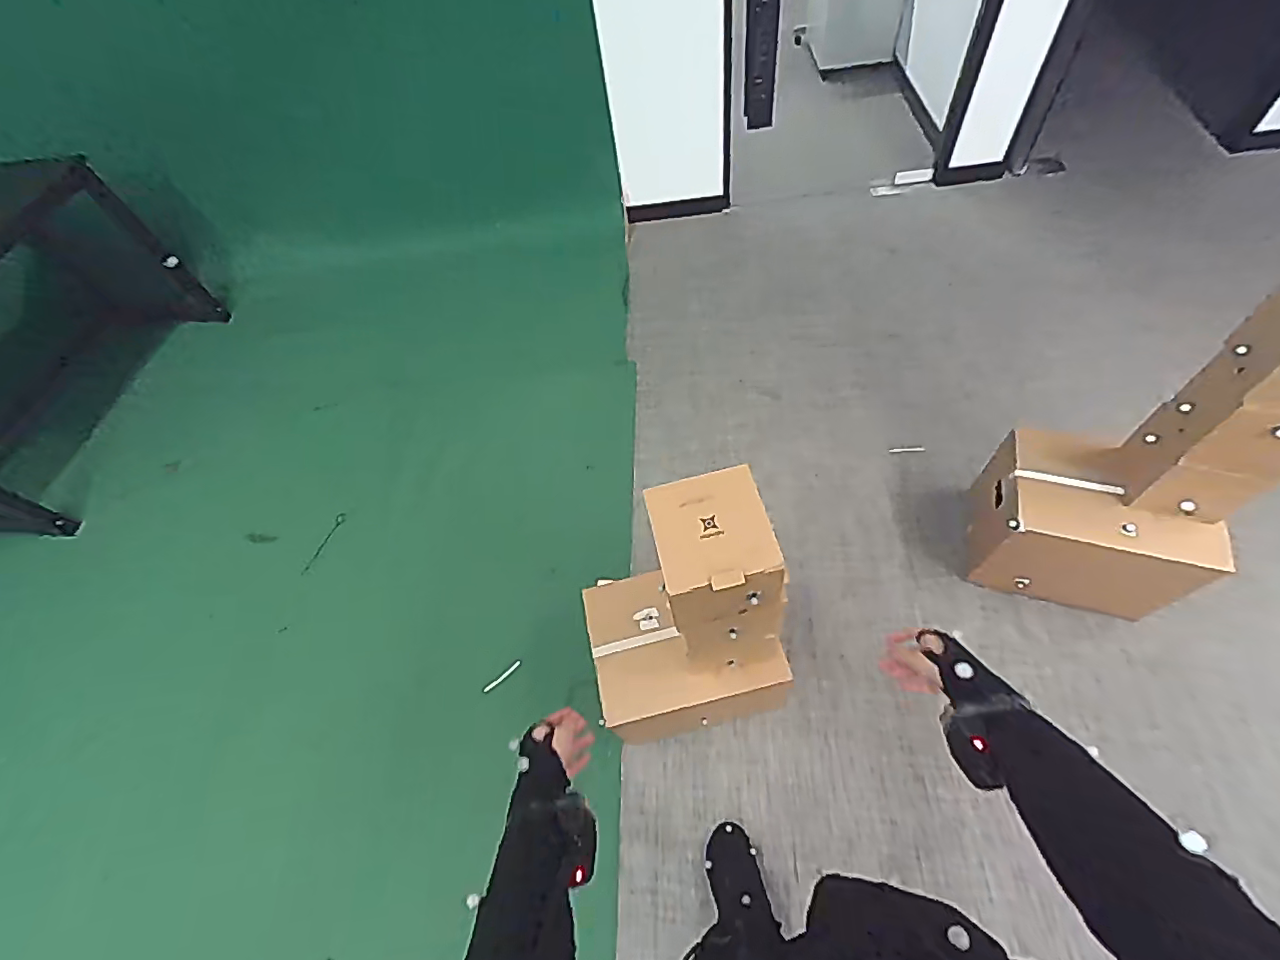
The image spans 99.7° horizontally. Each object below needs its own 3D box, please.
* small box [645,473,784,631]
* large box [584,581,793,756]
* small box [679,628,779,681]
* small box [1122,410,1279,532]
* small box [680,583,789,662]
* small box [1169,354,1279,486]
[{"bbox_3d":[0.111,0.119,0.829,0.168,0.176,0.179,-13,56,0],"label":"small box"},{"bbox_3d":[0.114,0.437,1.310,0.408,0.320,0.320,-15,54,0],"label":"large box"},{"bbox_3d":[0.168,0.295,1.099,0.179,0.176,0.168,-11,55,1],"label":"small box"},{"bbox_3d":[1.178,-0.018,1.155,0.168,0.176,0.179,13,58,17],"label":"small box"},{"bbox_3d":[0.147,0.206,0.963,0.179,0.176,0.168,-15,56,1],"label":"small box"},{"bbox_3d":[1.167,-0.109,1.021,0.179,0.176,0.168,14,58,18],"label":"small box"}]
